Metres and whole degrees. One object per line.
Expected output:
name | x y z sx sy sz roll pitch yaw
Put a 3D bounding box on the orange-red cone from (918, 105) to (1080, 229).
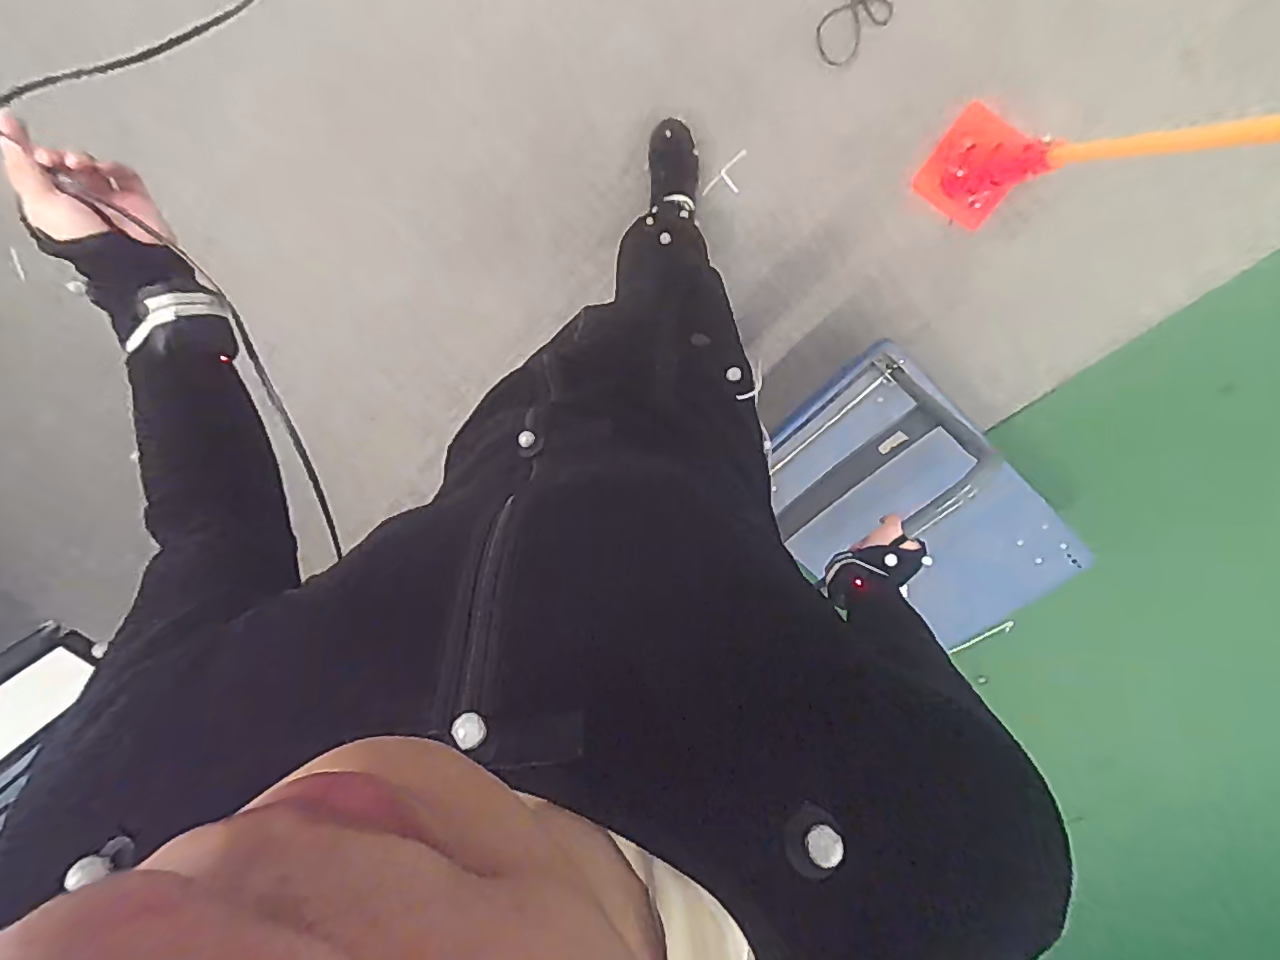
orange-red cone | 0.753 -0.635 1.082 0.198 0.360 0.199 32 115 -9
